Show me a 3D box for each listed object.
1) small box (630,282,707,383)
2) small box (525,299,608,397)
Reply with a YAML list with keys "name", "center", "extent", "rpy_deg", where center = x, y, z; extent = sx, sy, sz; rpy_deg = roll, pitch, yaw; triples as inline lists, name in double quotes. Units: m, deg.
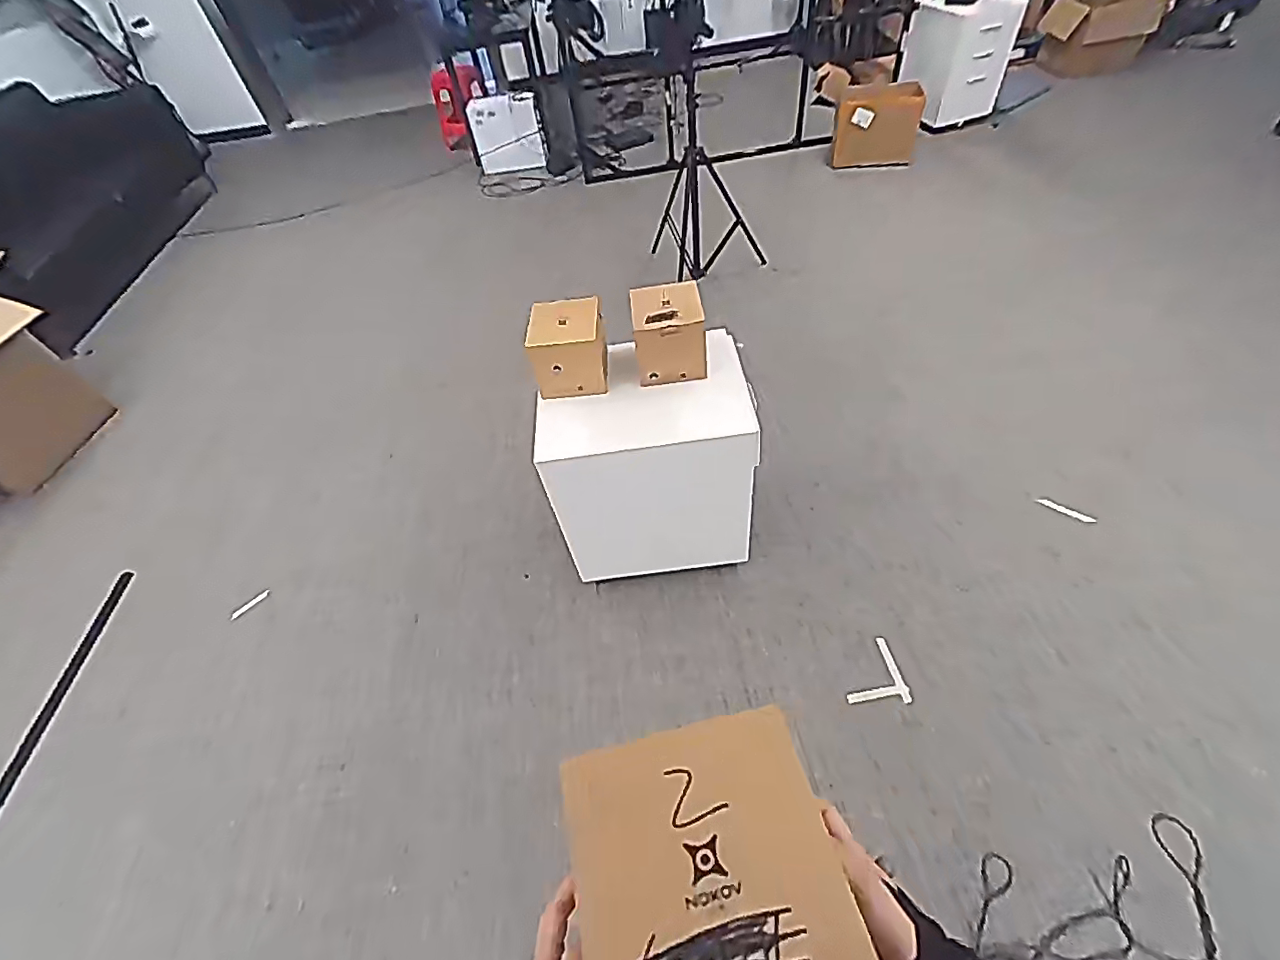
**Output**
- name: "small box"
  center: [0.070, -0.354, 1.327]
  extent: [0.168, 0.176, 0.179]
  rpy_deg: [-7, 50, 3]
- name: "small box"
  center: [-0.173, -0.319, 1.336]
  extent: [0.168, 0.176, 0.179]
  rpy_deg: [-5, 50, 4]
